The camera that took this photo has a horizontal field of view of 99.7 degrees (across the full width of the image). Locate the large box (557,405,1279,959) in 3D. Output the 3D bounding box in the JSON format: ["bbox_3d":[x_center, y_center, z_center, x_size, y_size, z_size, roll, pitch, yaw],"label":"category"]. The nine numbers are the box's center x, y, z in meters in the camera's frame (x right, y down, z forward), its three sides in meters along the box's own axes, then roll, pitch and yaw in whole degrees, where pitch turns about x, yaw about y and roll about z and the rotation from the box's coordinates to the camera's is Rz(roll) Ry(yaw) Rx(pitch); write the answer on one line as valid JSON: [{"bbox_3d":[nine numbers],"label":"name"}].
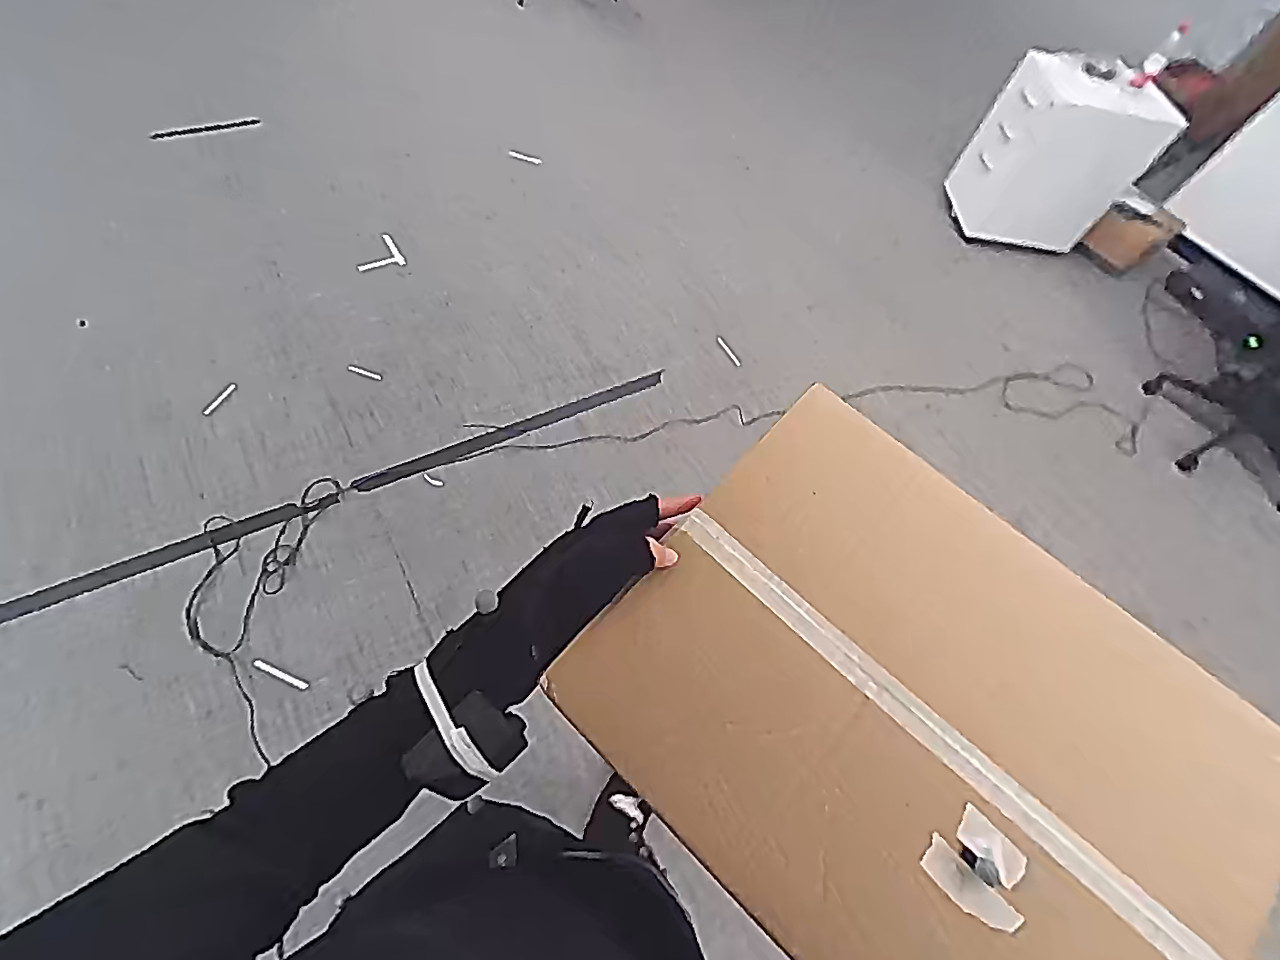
[{"bbox_3d":[0.185,0.212,0.508,0.408,0.320,0.320,42,76,13],"label":"large box"}]
